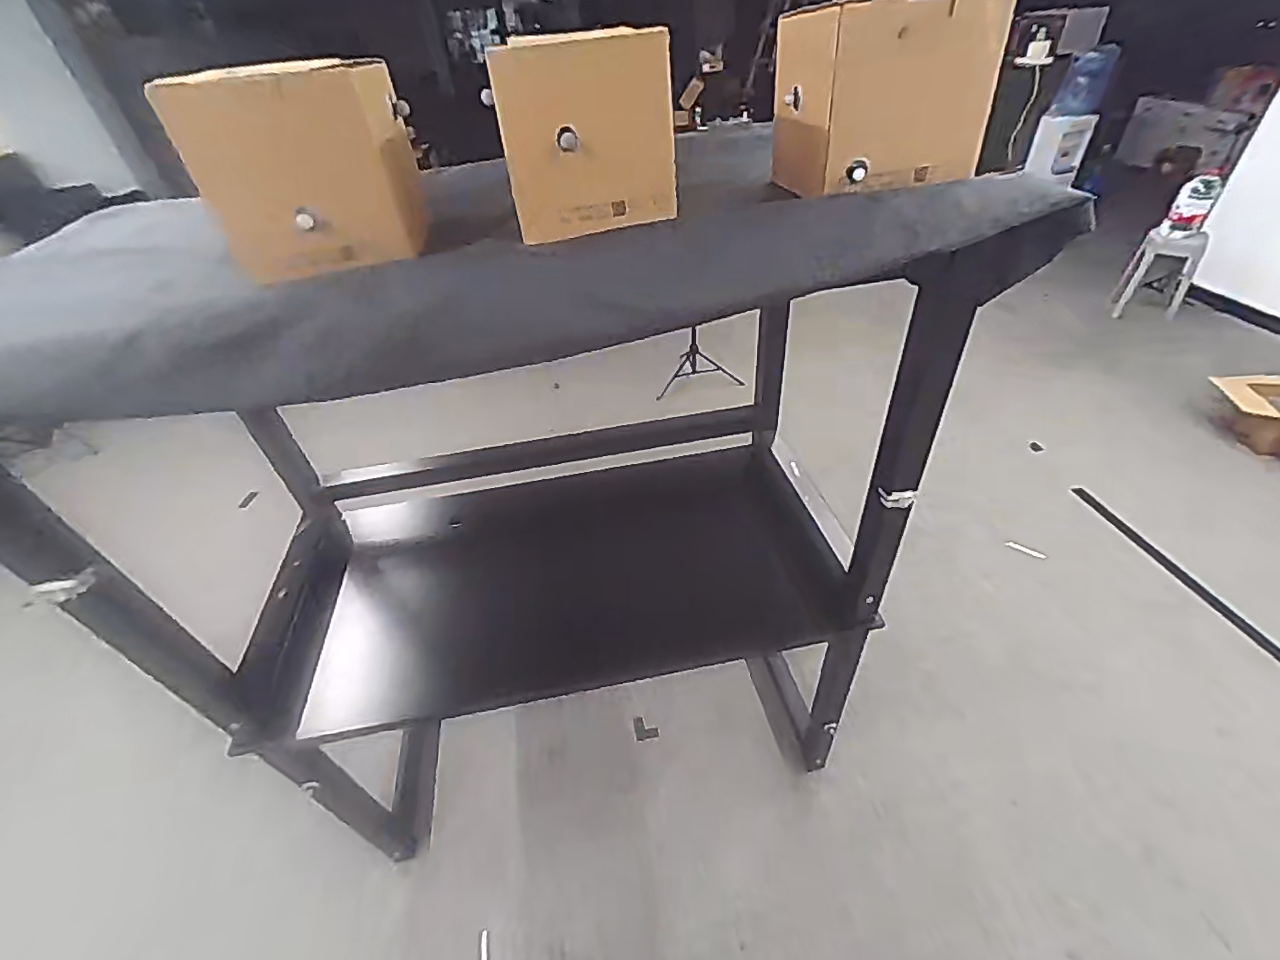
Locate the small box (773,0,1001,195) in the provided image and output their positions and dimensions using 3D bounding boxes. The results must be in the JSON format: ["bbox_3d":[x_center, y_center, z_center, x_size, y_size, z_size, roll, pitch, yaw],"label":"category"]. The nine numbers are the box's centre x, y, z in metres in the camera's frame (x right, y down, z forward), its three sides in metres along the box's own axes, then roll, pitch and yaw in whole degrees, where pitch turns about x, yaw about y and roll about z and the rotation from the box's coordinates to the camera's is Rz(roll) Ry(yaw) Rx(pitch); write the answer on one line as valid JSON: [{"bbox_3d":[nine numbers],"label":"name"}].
[{"bbox_3d":[0.253,-0.423,0.596,0.168,0.176,0.179,-9,37,-2],"label":"small box"}]

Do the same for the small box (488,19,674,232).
[{"bbox_3d":[-0.060,-0.383,0.595,0.168,0.176,0.179,-10,38,-4],"label":"small box"}]
